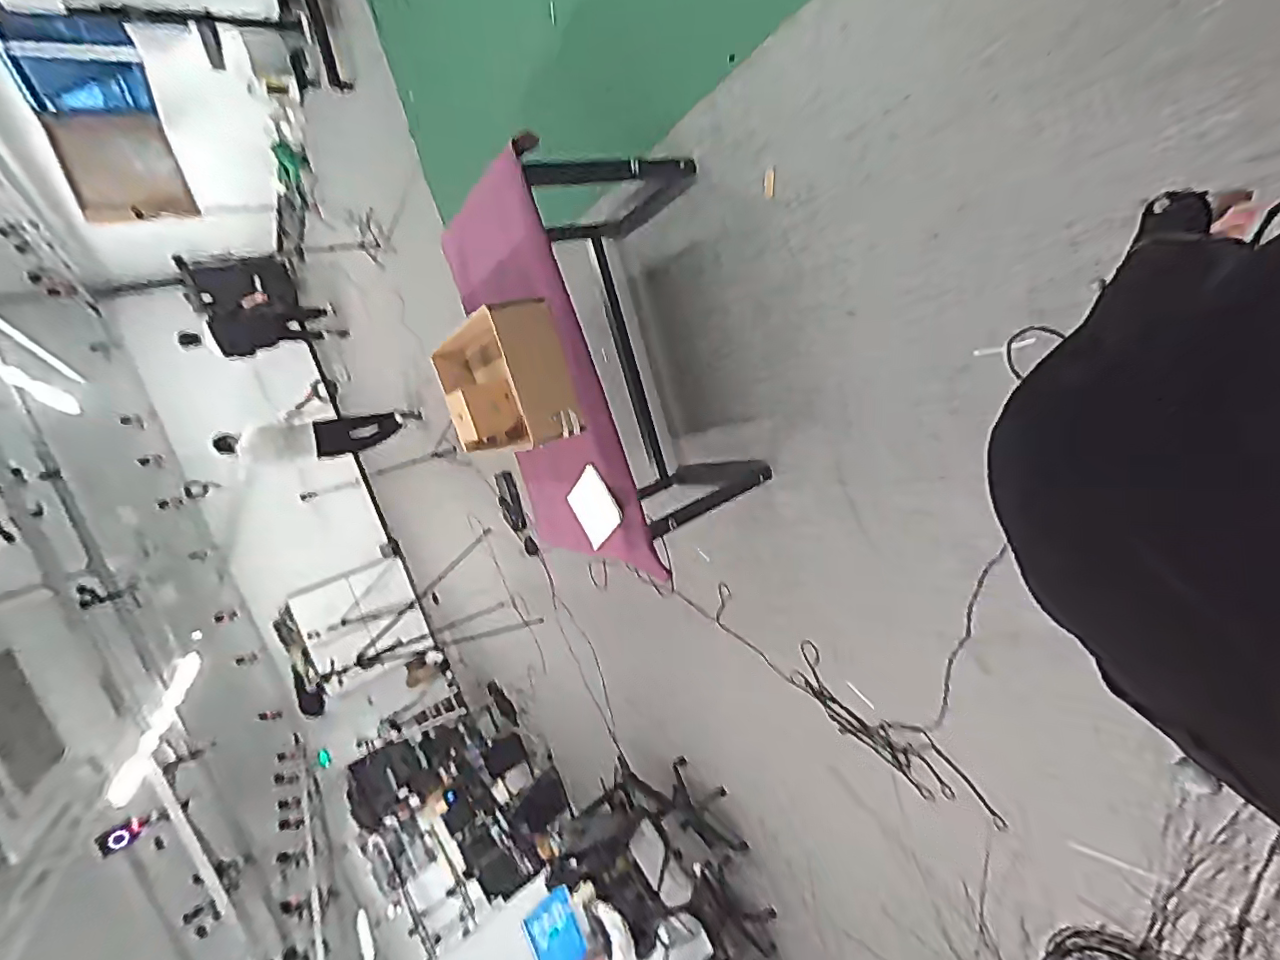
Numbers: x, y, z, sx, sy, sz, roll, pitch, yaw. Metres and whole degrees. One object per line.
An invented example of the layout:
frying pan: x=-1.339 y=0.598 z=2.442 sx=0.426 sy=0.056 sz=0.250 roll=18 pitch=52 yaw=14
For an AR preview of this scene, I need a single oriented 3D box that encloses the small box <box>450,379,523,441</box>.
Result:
small box: x=-0.519 y=-0.240 z=1.847 sx=0.179 sy=0.176 sz=0.168 roll=-1 pitch=109 yaw=54
